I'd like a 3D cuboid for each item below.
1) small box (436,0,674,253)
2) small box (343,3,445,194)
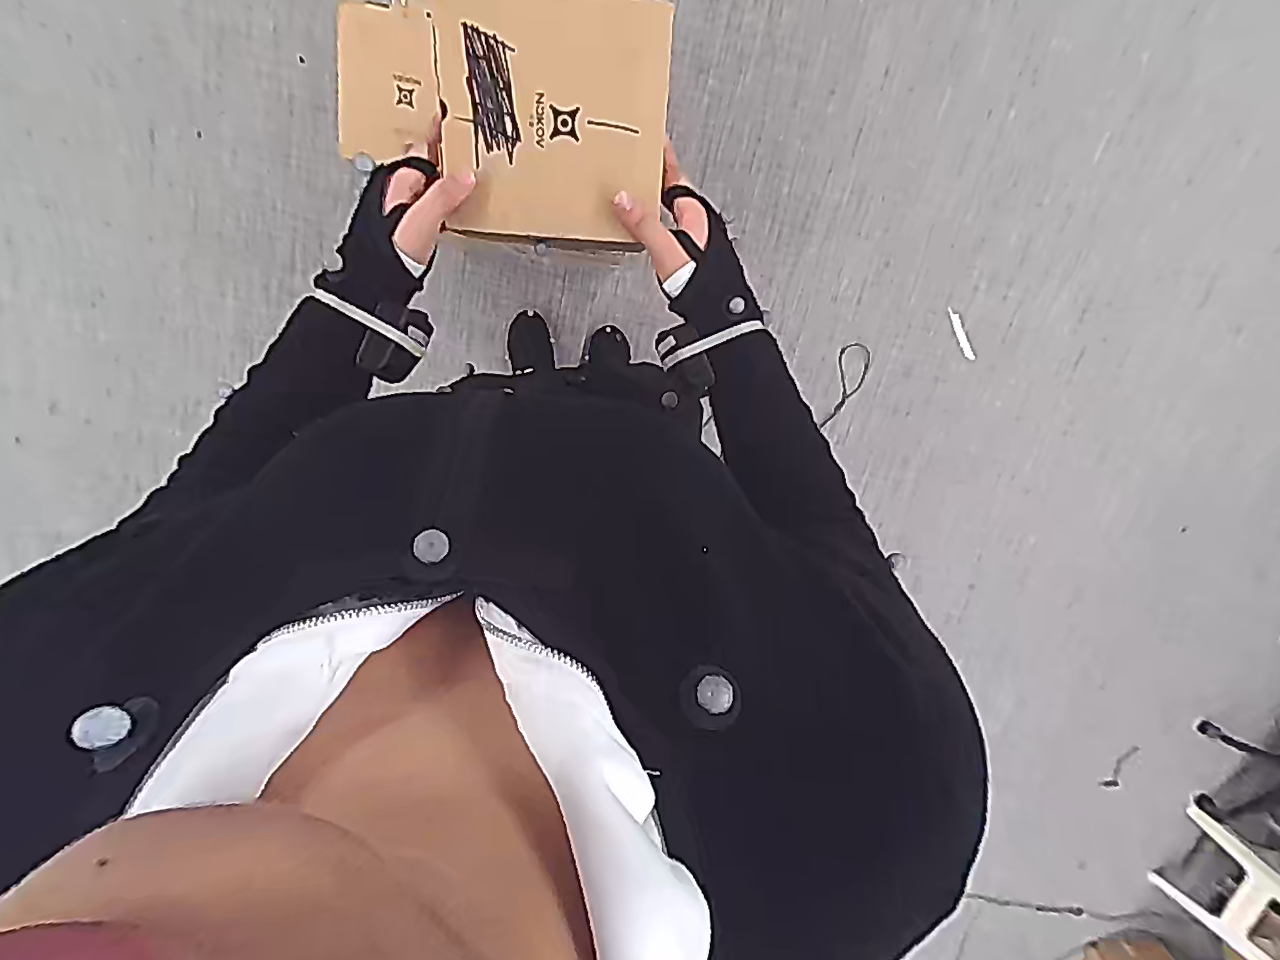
[{"bbox_3d":[-0.073,-0.305,0.497,0.179,0.176,0.168,1,111,-7],"label":"small box"},{"bbox_3d":[-0.296,-0.513,0.763,0.168,0.176,0.179,8,110,-5],"label":"small box"}]
